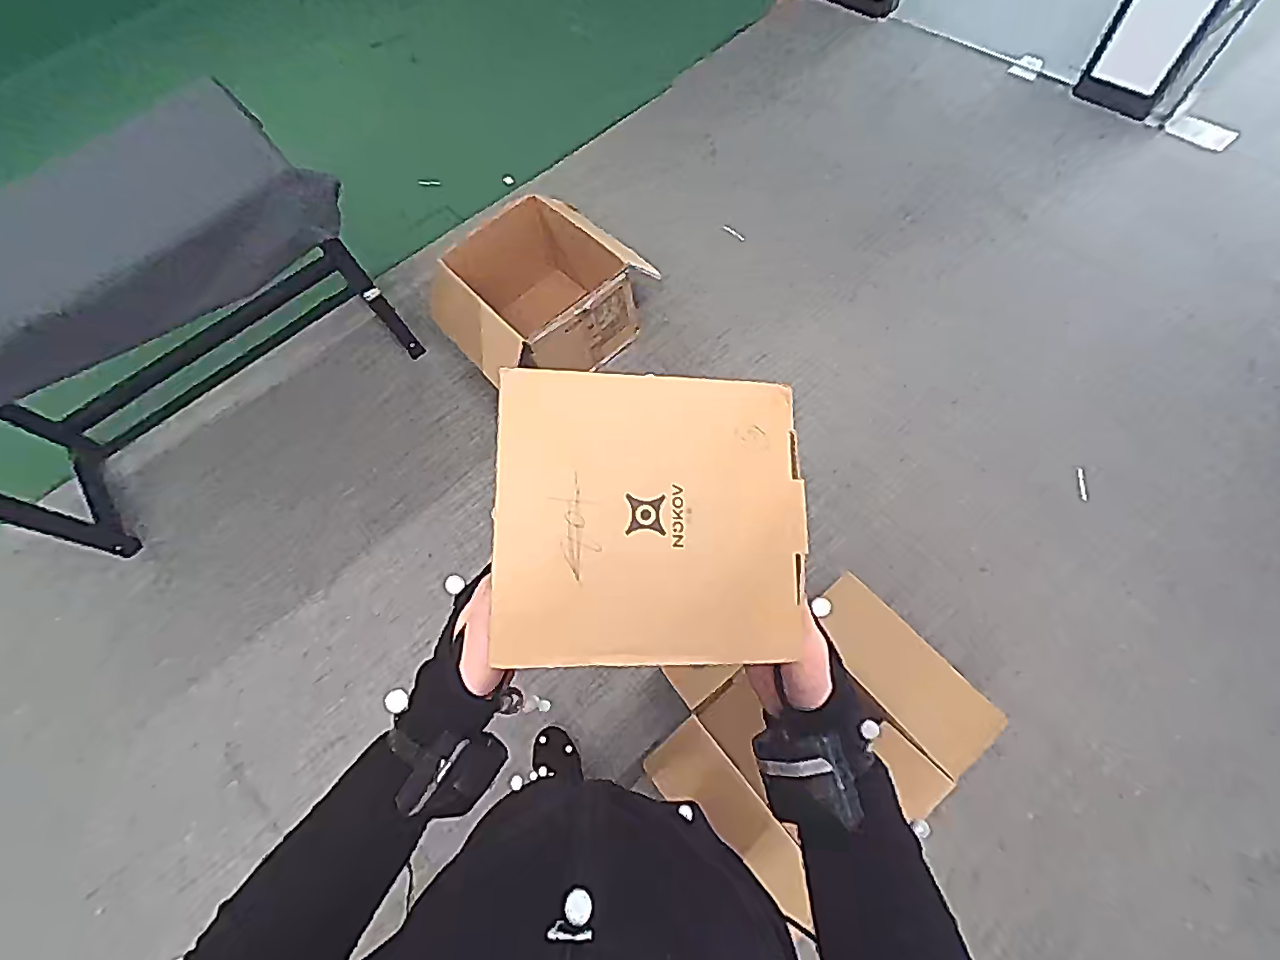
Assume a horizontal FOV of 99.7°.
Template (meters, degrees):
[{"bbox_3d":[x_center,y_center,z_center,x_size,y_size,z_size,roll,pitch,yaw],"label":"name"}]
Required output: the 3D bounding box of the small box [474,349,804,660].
[{"bbox_3d":[-0.007,0.024,0.370,0.179,0.176,0.168,1,80,-7],"label":"small box"}]
